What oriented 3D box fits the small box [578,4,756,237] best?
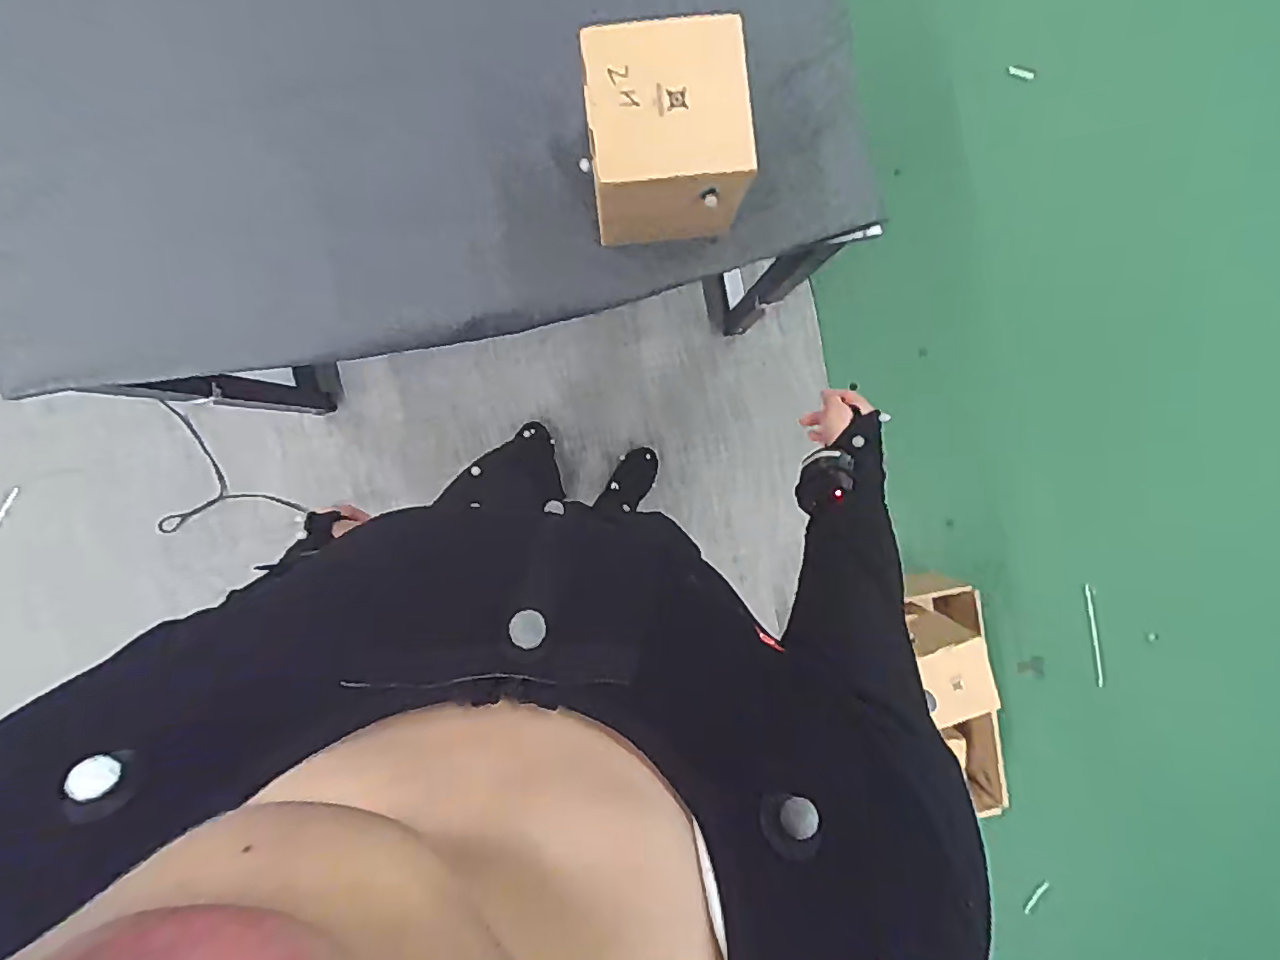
[{"bbox_3d":[0.025,-0.409,0.643,0.179,0.176,0.168,-7,92,-2],"label":"small box"}]

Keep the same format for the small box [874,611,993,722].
[{"bbox_3d":[0.678,0.424,1.268,0.168,0.176,0.179,-19,97,0],"label":"small box"}]
